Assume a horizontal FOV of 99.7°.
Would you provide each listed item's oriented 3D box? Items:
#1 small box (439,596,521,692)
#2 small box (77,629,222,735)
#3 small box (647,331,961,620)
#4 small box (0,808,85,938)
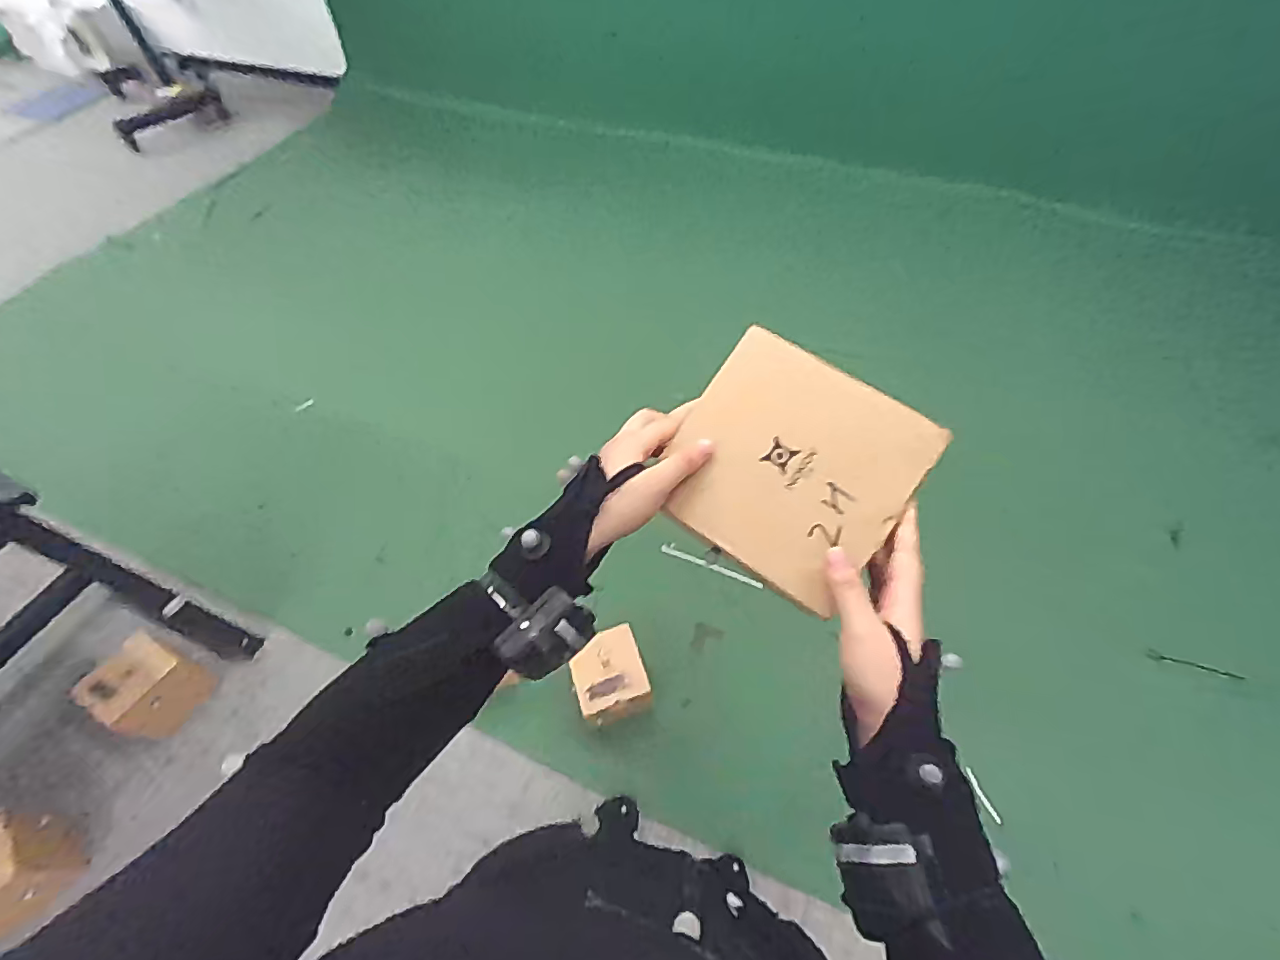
[{"bbox_3d":[-0.409,0.424,1.395,0.168,0.176,0.179,-11,57,-5],"label":"small box"},{"bbox_3d":[-1.225,0.515,1.365,0.168,0.176,0.179,24,59,17],"label":"small box"},{"bbox_3d":[0.133,0.006,0.485,0.179,0.176,0.168,34,88,15],"label":"small box"},{"bbox_3d":[-1.351,0.838,1.151,0.168,0.176,0.179,37,66,25],"label":"small box"}]
